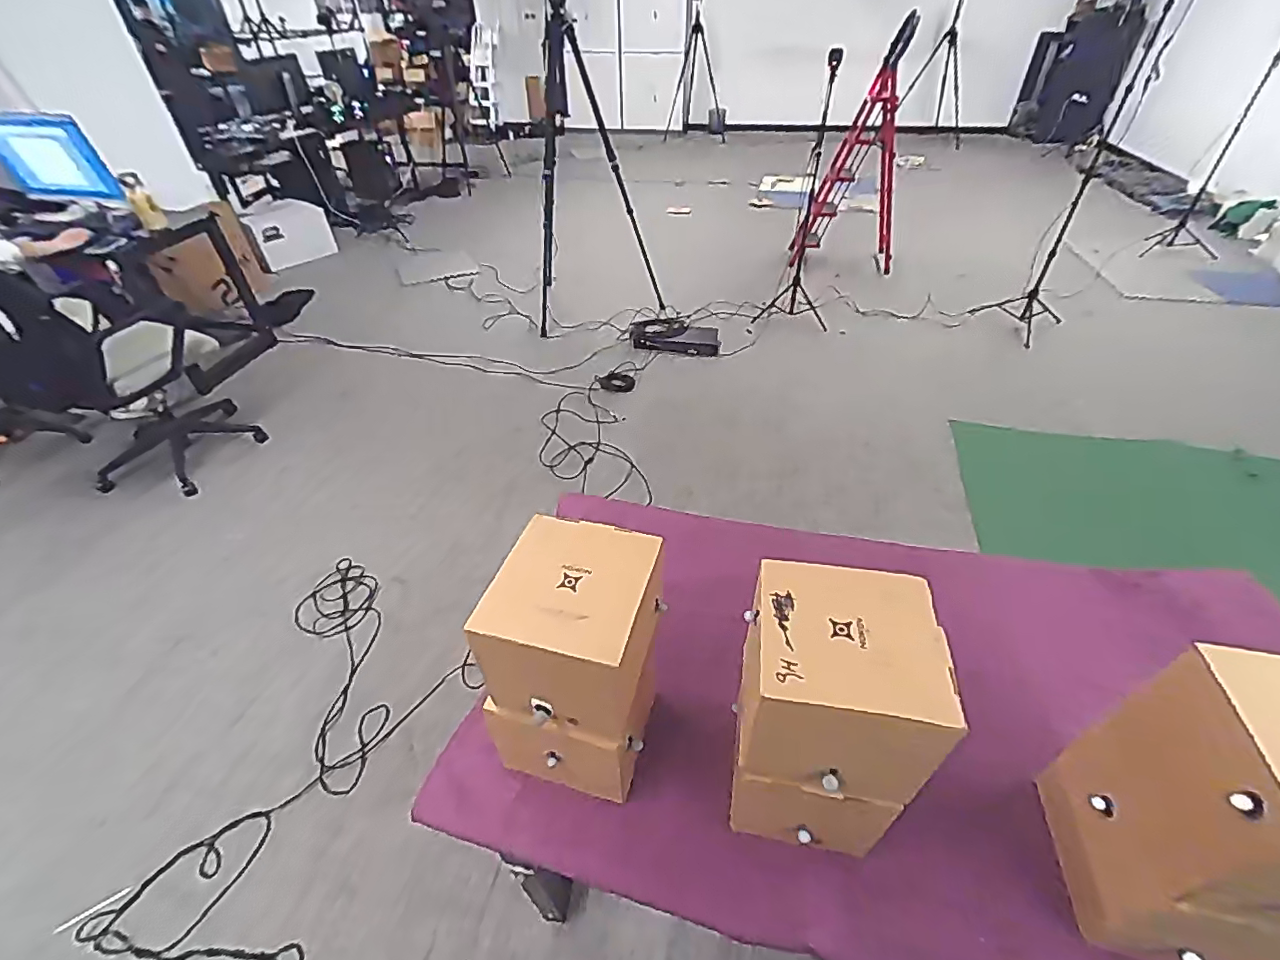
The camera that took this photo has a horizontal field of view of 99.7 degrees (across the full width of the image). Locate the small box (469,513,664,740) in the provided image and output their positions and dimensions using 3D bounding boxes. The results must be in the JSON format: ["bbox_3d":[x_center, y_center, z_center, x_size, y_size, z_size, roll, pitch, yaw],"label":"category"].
[{"bbox_3d":[-0.072,0.168,0.635,0.168,0.176,0.179,9,42,13],"label":"small box"}]

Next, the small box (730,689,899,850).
[{"bbox_3d":[0.208,0.333,0.689,0.168,0.176,0.179,7,41,9],"label":"small box"}]

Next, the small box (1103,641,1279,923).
[{"bbox_3d":[0.586,0.282,0.498,0.168,0.176,0.179,7,42,10],"label":"small box"}]

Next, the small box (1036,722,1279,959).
[{"bbox_3d":[0.586,0.406,0.602,0.168,0.176,0.179,8,43,10],"label":"small box"}]

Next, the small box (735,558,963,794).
[{"bbox_3d":[0.204,0.211,0.581,0.179,0.176,0.168,7,40,8],"label":"small box"}]
